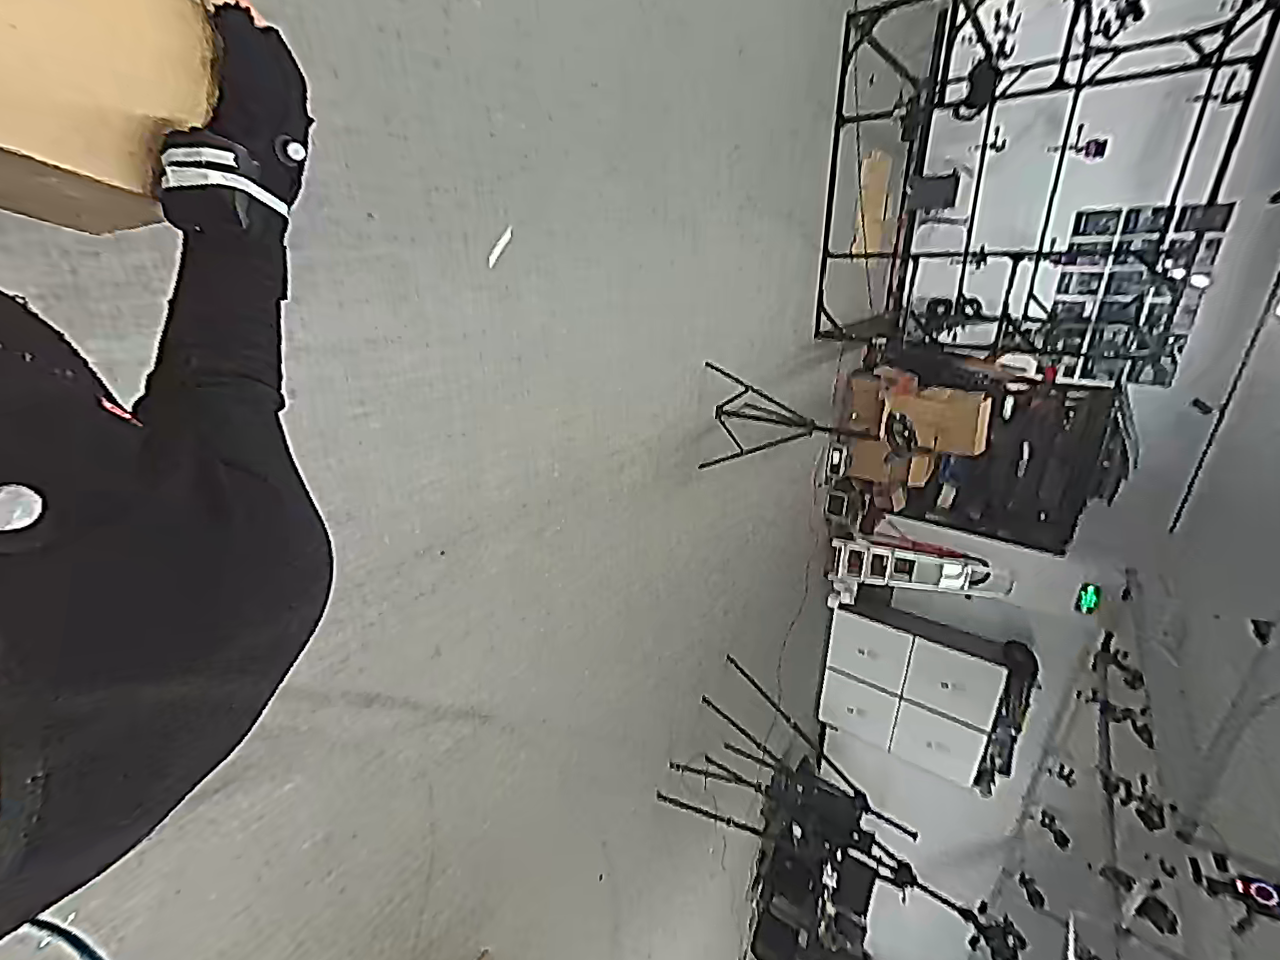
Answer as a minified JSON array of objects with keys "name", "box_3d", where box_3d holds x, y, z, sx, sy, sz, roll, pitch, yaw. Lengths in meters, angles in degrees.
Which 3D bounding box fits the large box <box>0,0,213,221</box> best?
[{"name":"large box","box_3d":[-0.561,-0.399,0.331,0.408,0.320,0.320,0,102,-57]}]
